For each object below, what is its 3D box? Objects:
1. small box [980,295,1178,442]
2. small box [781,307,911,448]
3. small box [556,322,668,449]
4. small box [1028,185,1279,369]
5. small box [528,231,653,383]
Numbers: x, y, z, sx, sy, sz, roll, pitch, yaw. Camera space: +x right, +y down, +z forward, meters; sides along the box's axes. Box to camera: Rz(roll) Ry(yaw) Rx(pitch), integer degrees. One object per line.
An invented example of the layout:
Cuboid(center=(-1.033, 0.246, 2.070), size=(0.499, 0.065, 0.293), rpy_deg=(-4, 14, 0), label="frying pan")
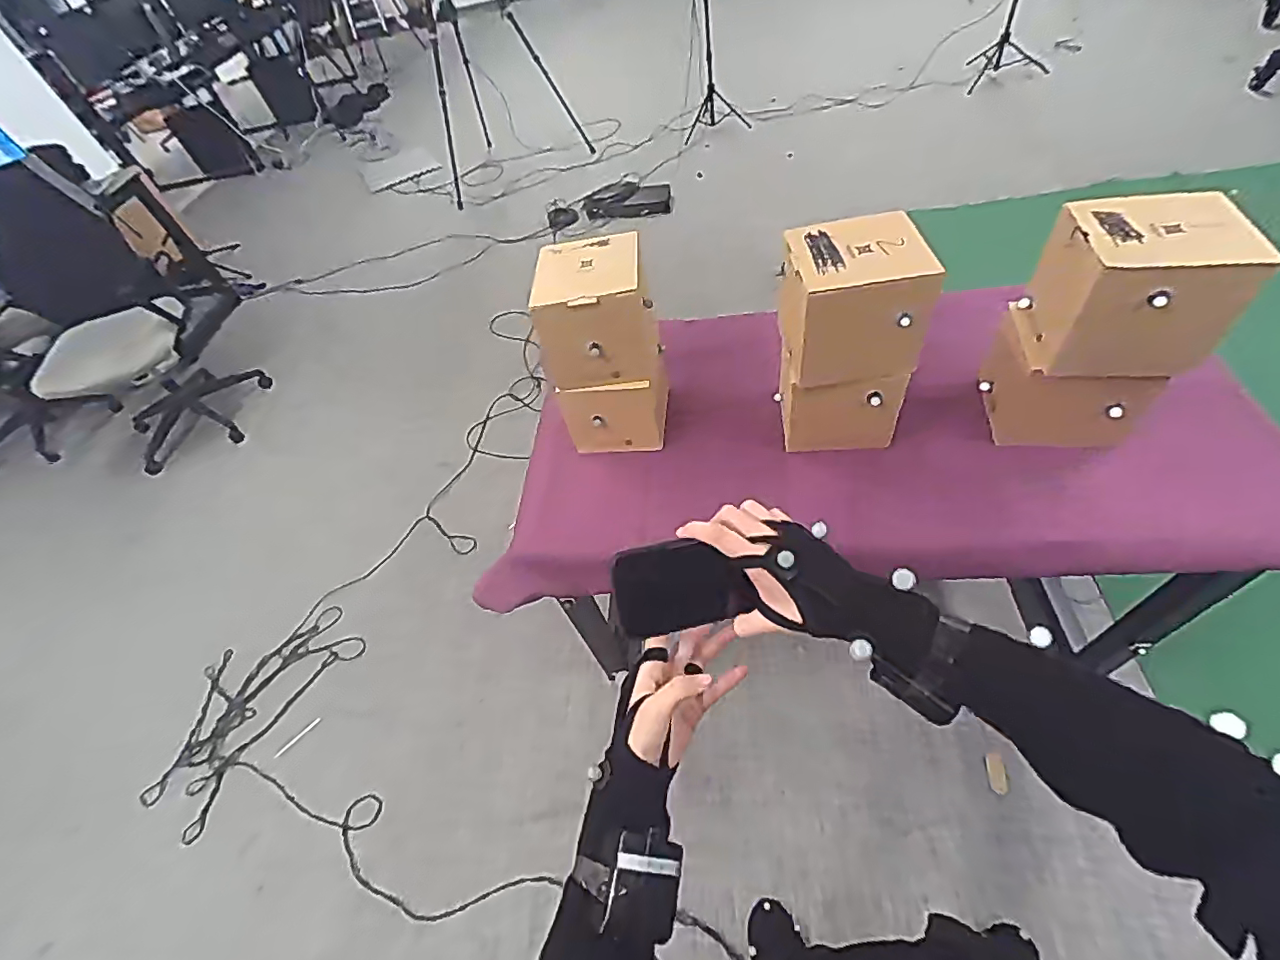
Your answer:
Cuboid(center=(0.672, -0.174, 0.855), size=(0.179, 0.176, 0.168), rpy_deg=(2, 52, 15), label="small box")
Cuboid(center=(0.339, -0.170, 0.927), size=(0.179, 0.176, 0.168), rpy_deg=(-3, 52, 11), label="small box")
Cuboid(center=(-0.042, -0.169, 1.014), size=(0.168, 0.176, 0.179), rpy_deg=(-2, 52, 11), label="small box")
Cuboid(center=(0.650, -0.262, 0.718), size=(0.179, 0.176, 0.168), rpy_deg=(2, 52, 14), label="small box")
Cuboid(center=(-0.070, -0.276, 0.893), size=(0.168, 0.176, 0.179), rpy_deg=(-6, 52, 8), label="small box")
